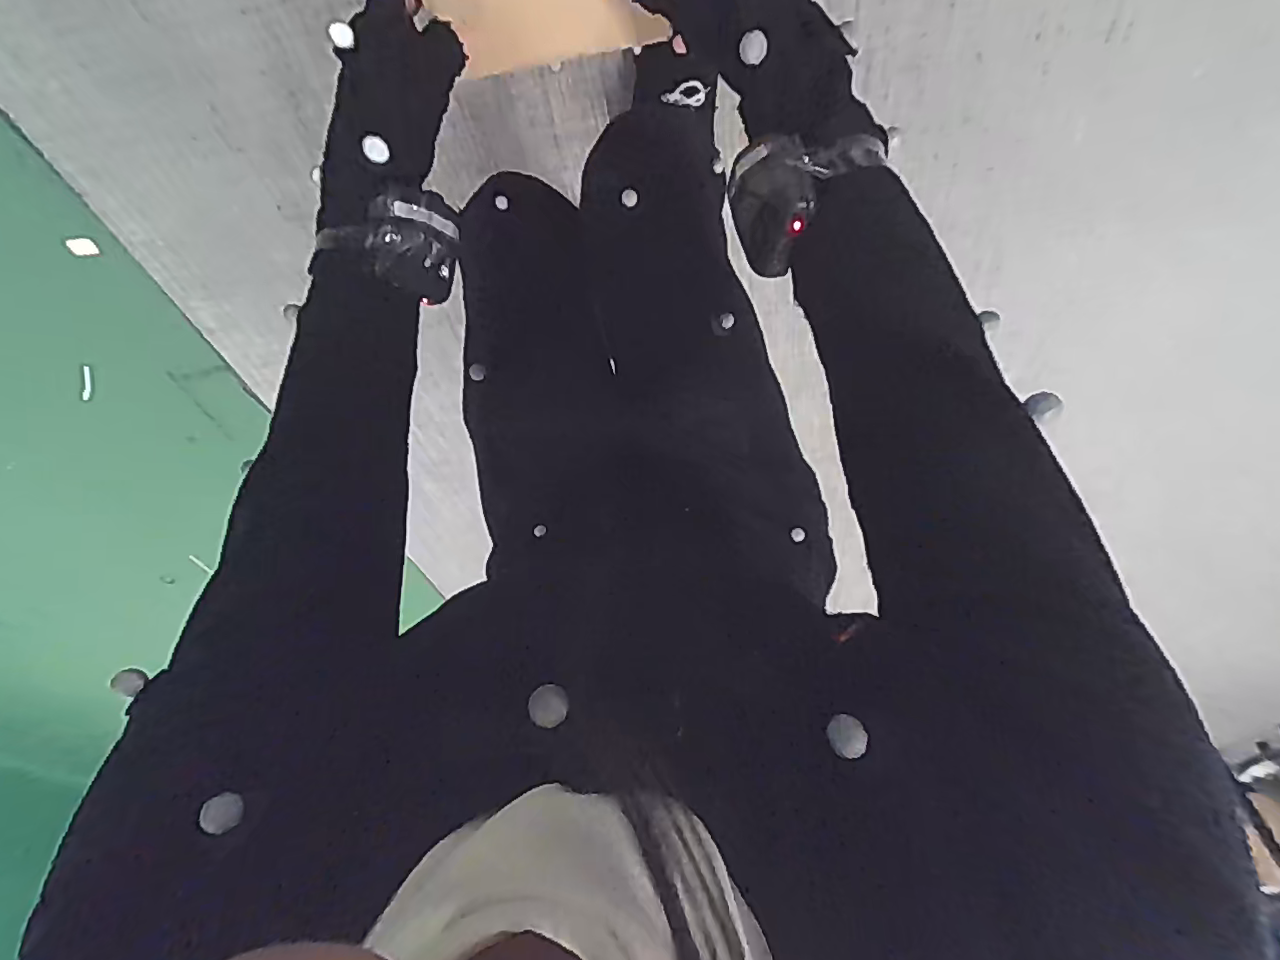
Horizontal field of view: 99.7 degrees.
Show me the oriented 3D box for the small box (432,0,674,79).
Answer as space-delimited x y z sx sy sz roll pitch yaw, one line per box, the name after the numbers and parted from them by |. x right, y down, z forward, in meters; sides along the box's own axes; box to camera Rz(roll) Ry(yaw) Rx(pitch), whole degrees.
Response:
-0.075 -0.438 0.419 0.179 0.176 0.168 -8 134 3 | small box

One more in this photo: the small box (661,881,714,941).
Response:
0.179 1.645 2.059 0.179 0.176 0.168 -10 139 9 | small box

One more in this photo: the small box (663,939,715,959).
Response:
0.179 1.763 1.946 0.179 0.176 0.168 -7 140 9 | small box
